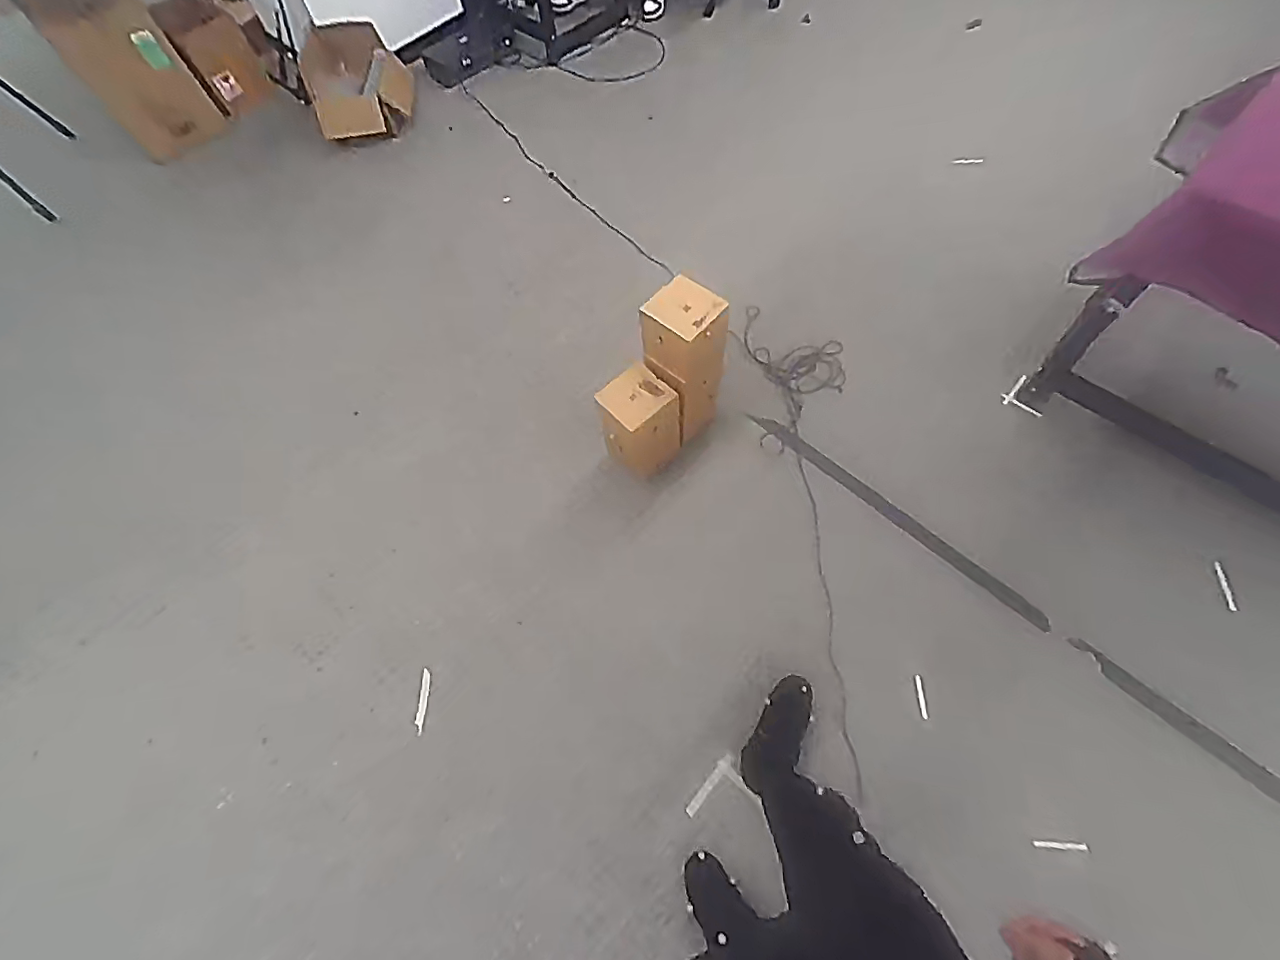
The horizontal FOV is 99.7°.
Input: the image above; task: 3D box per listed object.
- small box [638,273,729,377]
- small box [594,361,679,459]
[{"bbox_3d":[0.116,-0.408,1.443,0.179,0.176,0.168,38,74,22],"label":"small box"},{"bbox_3d":[-0.005,-0.194,1.534,0.179,0.176,0.168,-41,67,-12],"label":"small box"}]
